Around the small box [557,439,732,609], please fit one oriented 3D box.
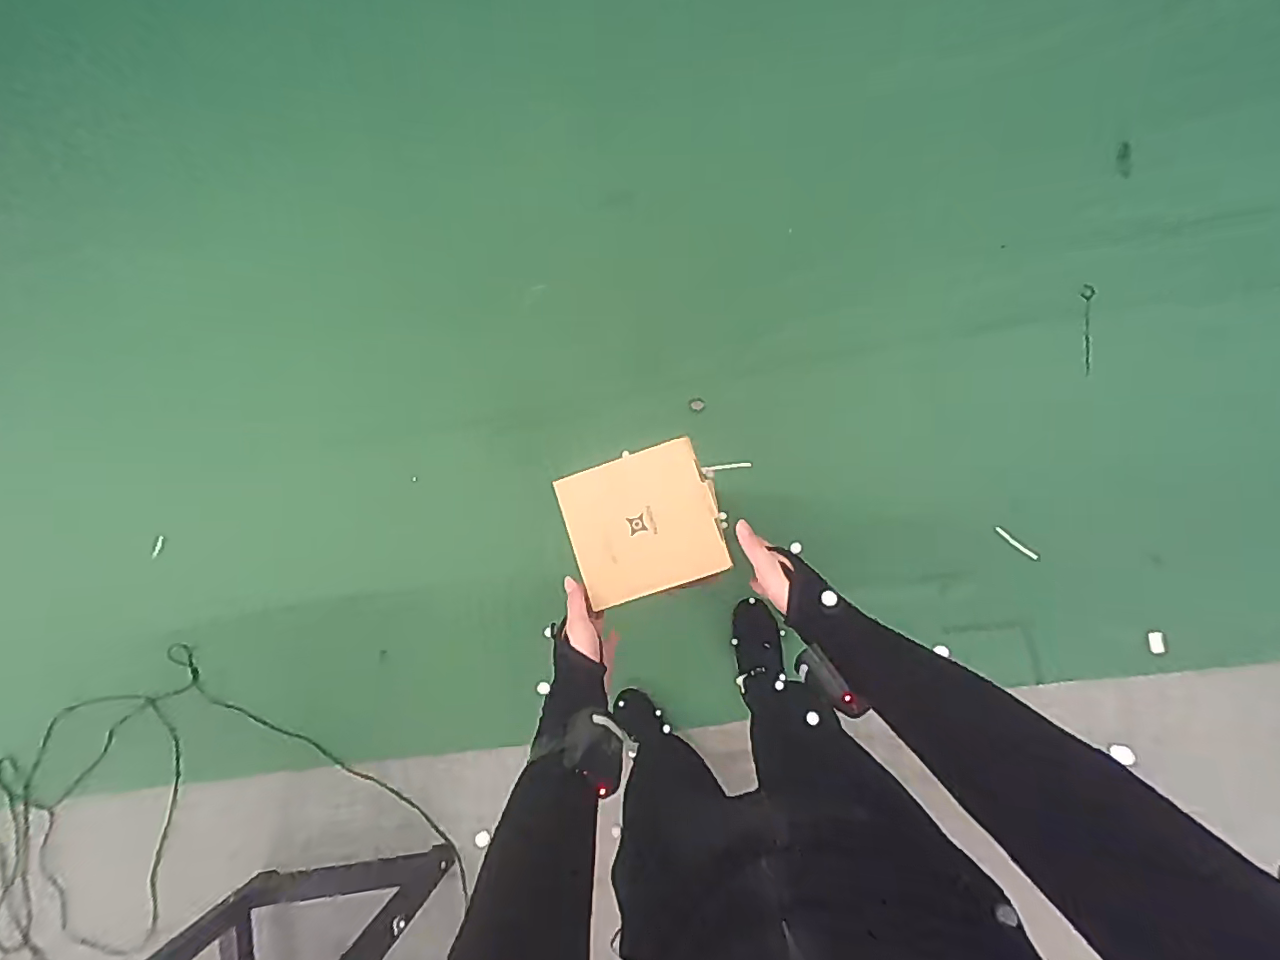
[{"bbox_3d":[0.013,0.059,0.717,0.179,0.176,0.168,-18,81,7],"label":"small box"}]
